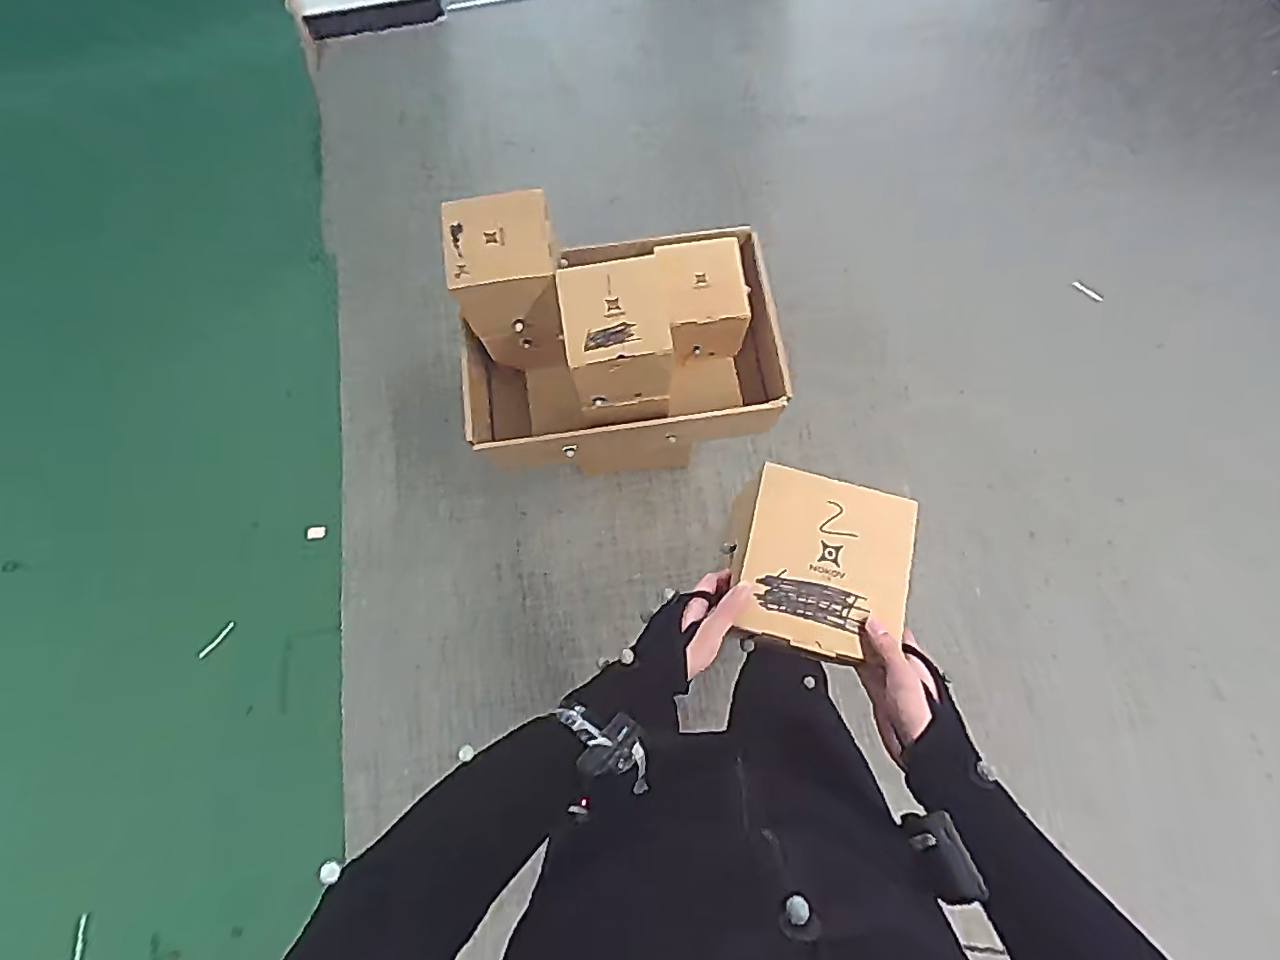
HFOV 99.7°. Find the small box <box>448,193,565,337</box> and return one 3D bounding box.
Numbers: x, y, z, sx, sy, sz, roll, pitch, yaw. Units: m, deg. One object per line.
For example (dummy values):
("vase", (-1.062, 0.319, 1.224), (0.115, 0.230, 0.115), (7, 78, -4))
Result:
("small box", (-0.225, -0.374, 0.962), (0.179, 0.176, 0.168), (-7, 76, -1))

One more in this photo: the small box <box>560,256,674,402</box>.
("small box", (-0.035, -0.245, 0.923), (0.168, 0.176, 0.179), (-9, 75, -1))
